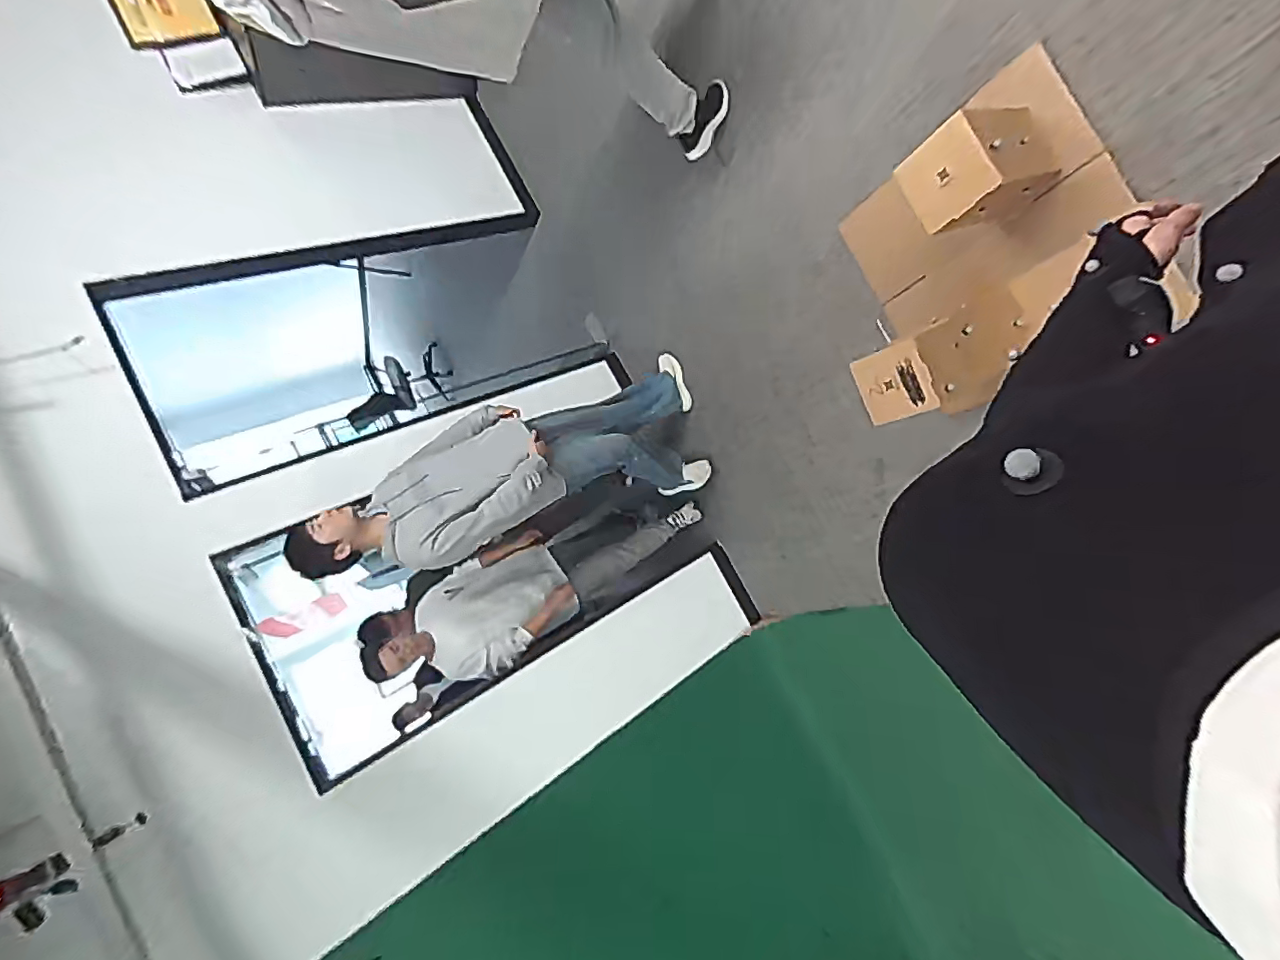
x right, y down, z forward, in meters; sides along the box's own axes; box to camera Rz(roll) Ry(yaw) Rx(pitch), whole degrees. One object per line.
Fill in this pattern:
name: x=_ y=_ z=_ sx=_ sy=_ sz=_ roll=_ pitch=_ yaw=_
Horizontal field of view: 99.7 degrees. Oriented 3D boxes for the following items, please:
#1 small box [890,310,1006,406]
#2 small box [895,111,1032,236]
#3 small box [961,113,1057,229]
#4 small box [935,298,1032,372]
small box: x=0.772 y=-0.311 z=1.356 sx=0.168 sy=0.176 sz=0.179 roll=-19 pitch=97 yaw=61
small box: x=0.710 y=-0.671 z=1.188 sx=0.179 sy=0.176 sz=0.168 roll=61 pitch=149 yaw=3
small box: x=0.832 y=-0.732 z=1.275 sx=0.179 sy=0.176 sz=0.168 roll=62 pitch=150 yaw=3
small box: x=0.900 y=-0.369 z=1.444 sx=0.168 sy=0.176 sz=0.179 roll=-18 pitch=97 yaw=60
